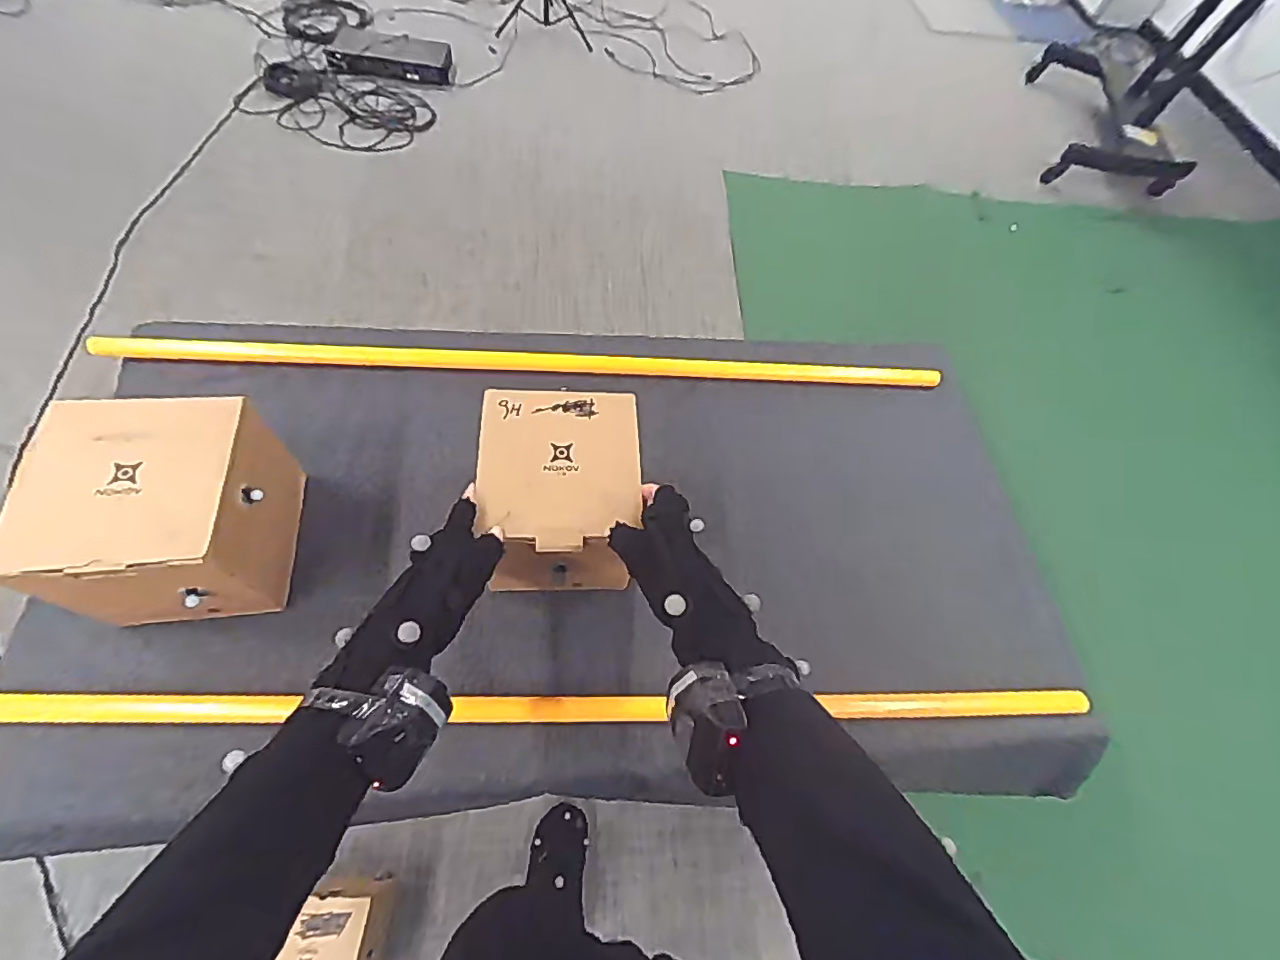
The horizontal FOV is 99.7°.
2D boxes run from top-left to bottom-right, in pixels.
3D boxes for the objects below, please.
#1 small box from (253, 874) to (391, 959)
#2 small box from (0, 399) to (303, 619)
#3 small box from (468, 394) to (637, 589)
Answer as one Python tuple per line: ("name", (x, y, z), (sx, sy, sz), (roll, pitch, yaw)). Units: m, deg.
("small box", (-0.563, 0.823, 0.964), (0.168, 0.176, 0.179), (6, 62, -6))
("small box", (-0.476, 0.037, 0.559), (0.168, 0.176, 0.179), (-3, 61, -12))
("small box", (-0.097, 0.021, 0.626), (0.168, 0.176, 0.179), (-2, 62, -8))
